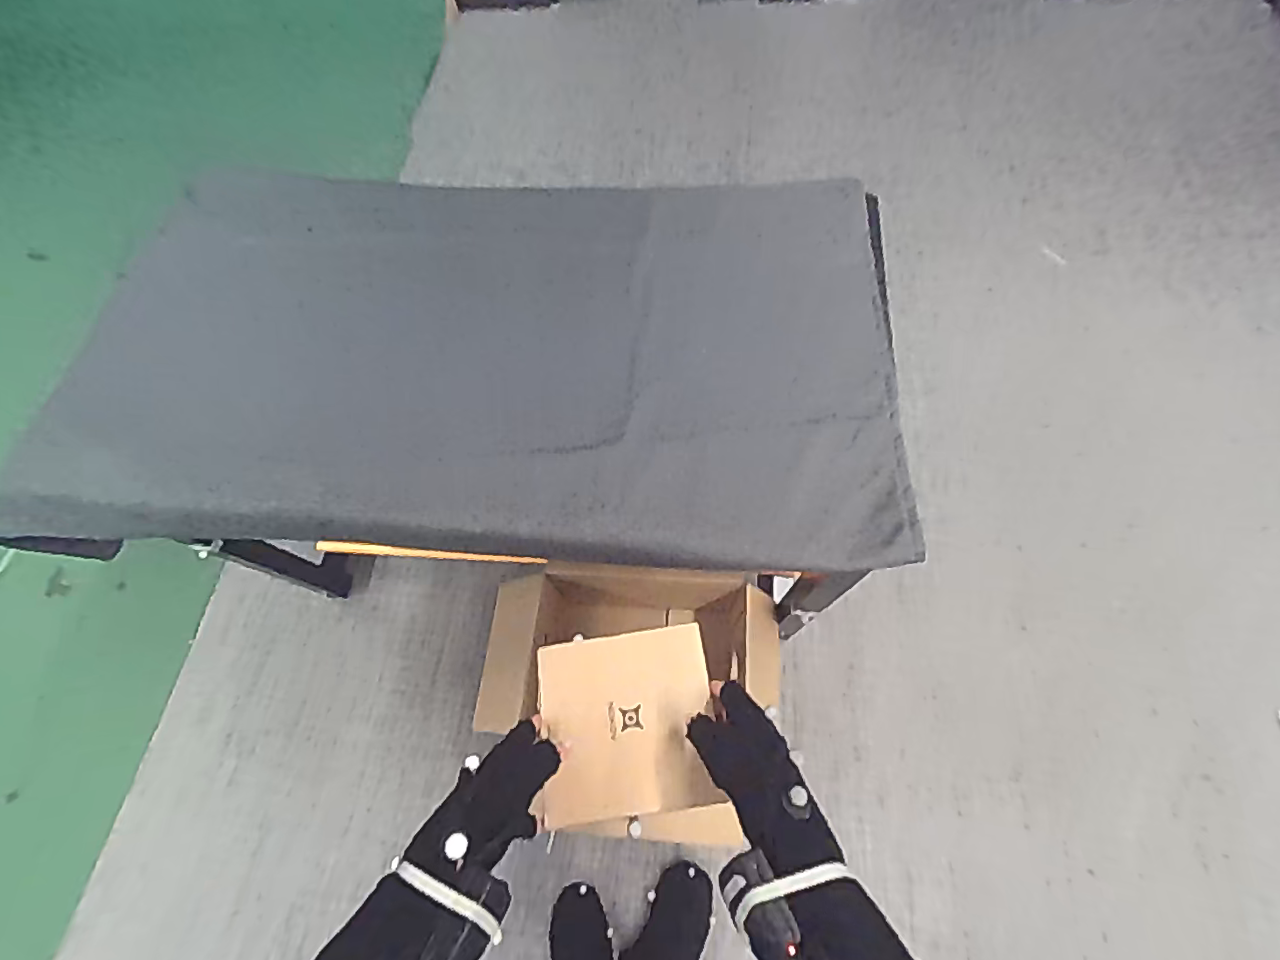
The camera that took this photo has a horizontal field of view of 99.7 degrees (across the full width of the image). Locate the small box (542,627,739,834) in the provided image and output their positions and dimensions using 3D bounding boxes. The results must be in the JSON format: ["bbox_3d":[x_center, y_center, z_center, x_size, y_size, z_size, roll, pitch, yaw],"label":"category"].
[{"bbox_3d":[0.001,0.274,0.594,0.179,0.176,0.168,-11,60,2],"label":"small box"}]
